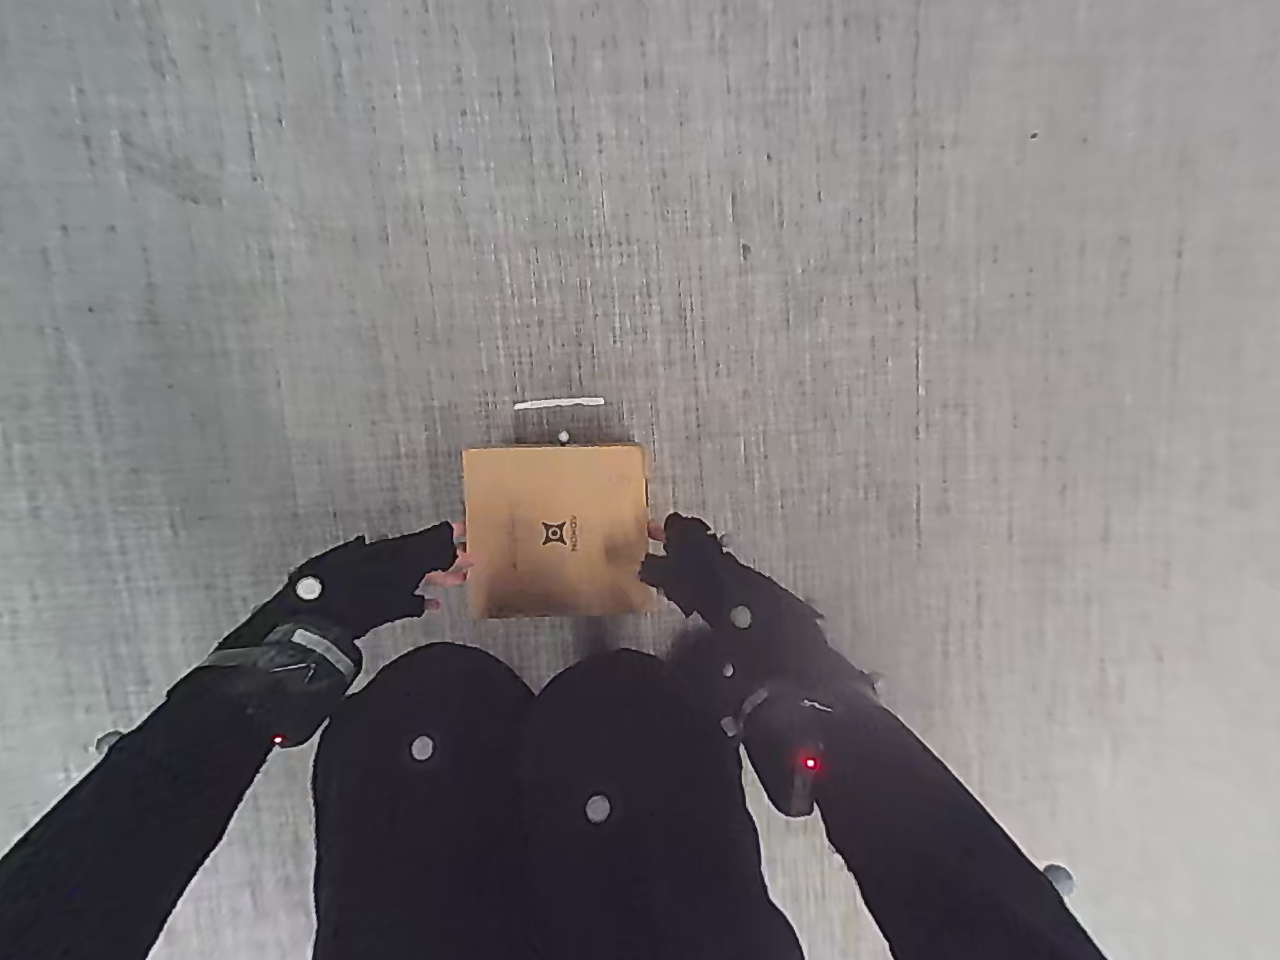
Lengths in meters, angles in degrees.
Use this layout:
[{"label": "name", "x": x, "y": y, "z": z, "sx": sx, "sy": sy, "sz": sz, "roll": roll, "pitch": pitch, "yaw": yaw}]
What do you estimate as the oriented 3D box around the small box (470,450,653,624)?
[{"label": "small box", "x": -0.079, "y": 0.052, "z": 0.603, "sx": 0.179, "sy": 0.176, "sz": 0.168, "roll": -1, "pitch": 94, "yaw": -2}]
